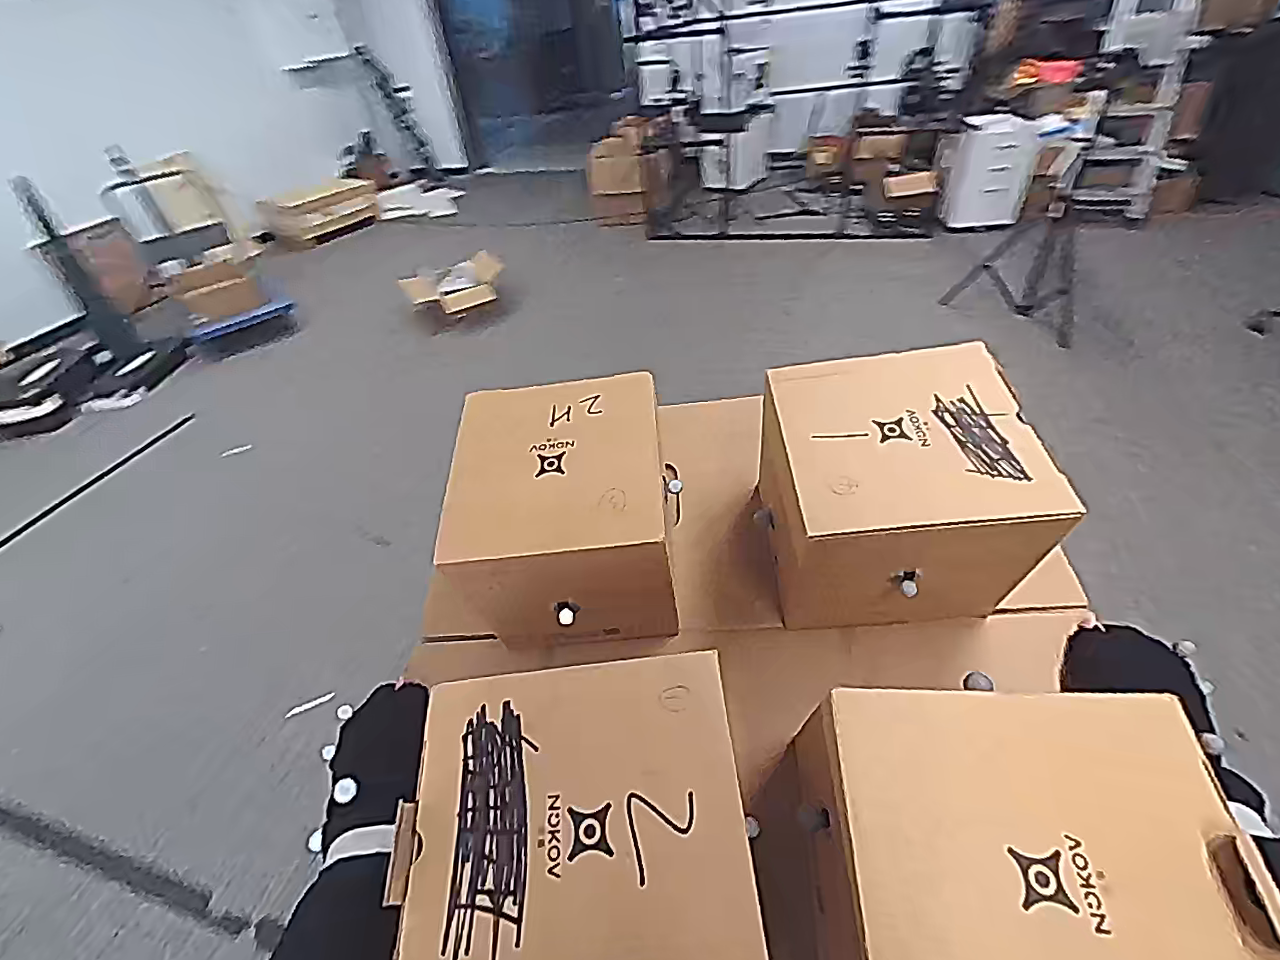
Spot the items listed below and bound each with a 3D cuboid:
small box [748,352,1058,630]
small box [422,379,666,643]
[{"bbox_3d":[0.192,0.017,0.462,0.179,0.176,0.168,-6,53,6],"label":"small box"},{"bbox_3d":[-0.068,0.037,0.489,0.168,0.176,0.179,-6,52,4],"label":"small box"}]
